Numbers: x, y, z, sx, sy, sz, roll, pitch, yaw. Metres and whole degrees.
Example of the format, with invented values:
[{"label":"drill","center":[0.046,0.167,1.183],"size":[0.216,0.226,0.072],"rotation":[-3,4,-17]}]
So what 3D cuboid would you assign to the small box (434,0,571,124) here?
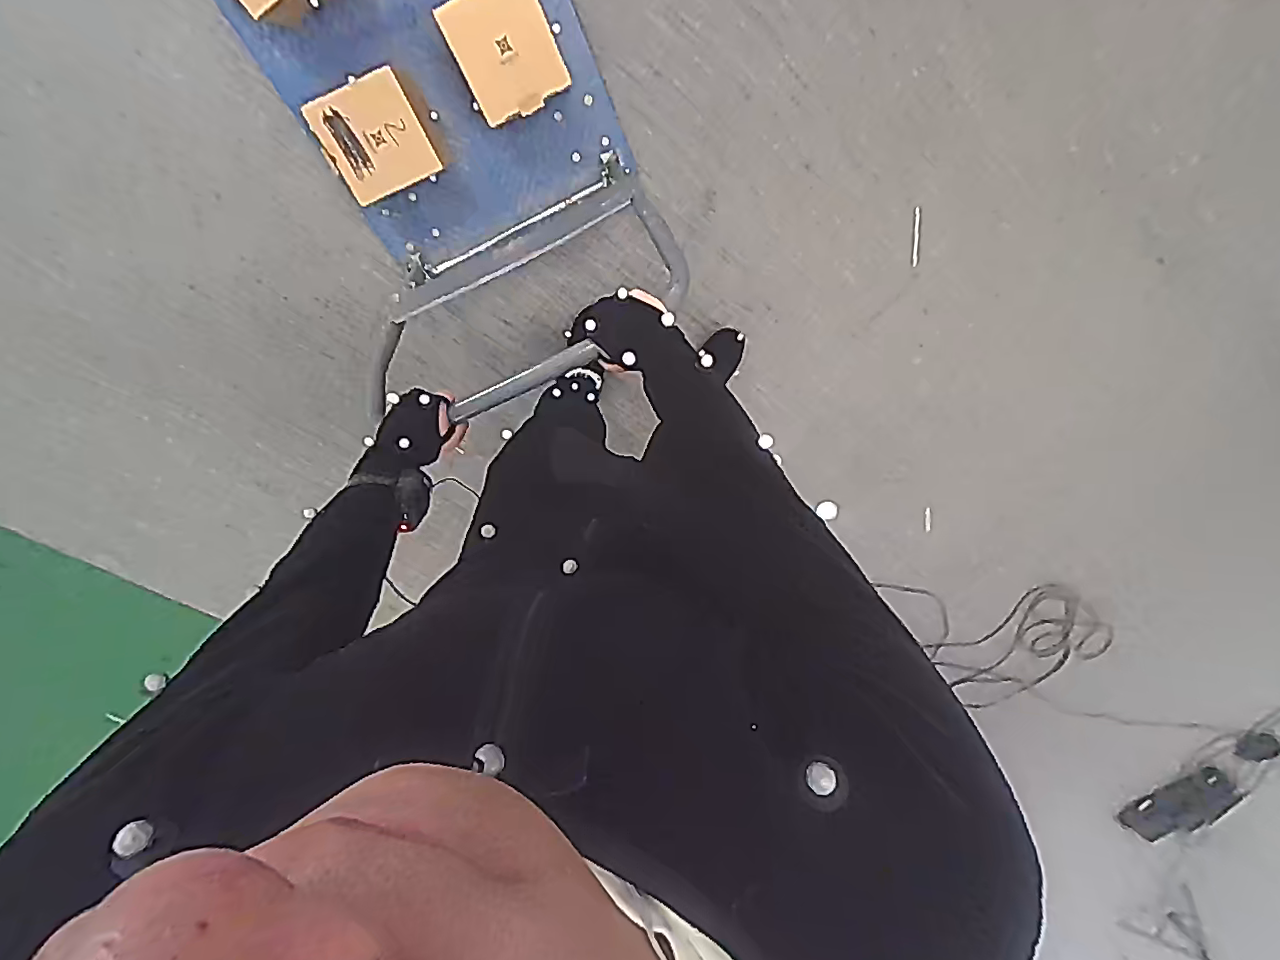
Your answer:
[{"label":"small box","center":[-0.239,-0.773,0.967],"size":[0.168,0.176,0.179],"rotation":[-24,128,8]}]

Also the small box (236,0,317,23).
[{"label":"small box","center":[-0.587,-0.855,0.839],"size":[0.168,0.176,0.179],"rotation":[-30,126,11]}]
